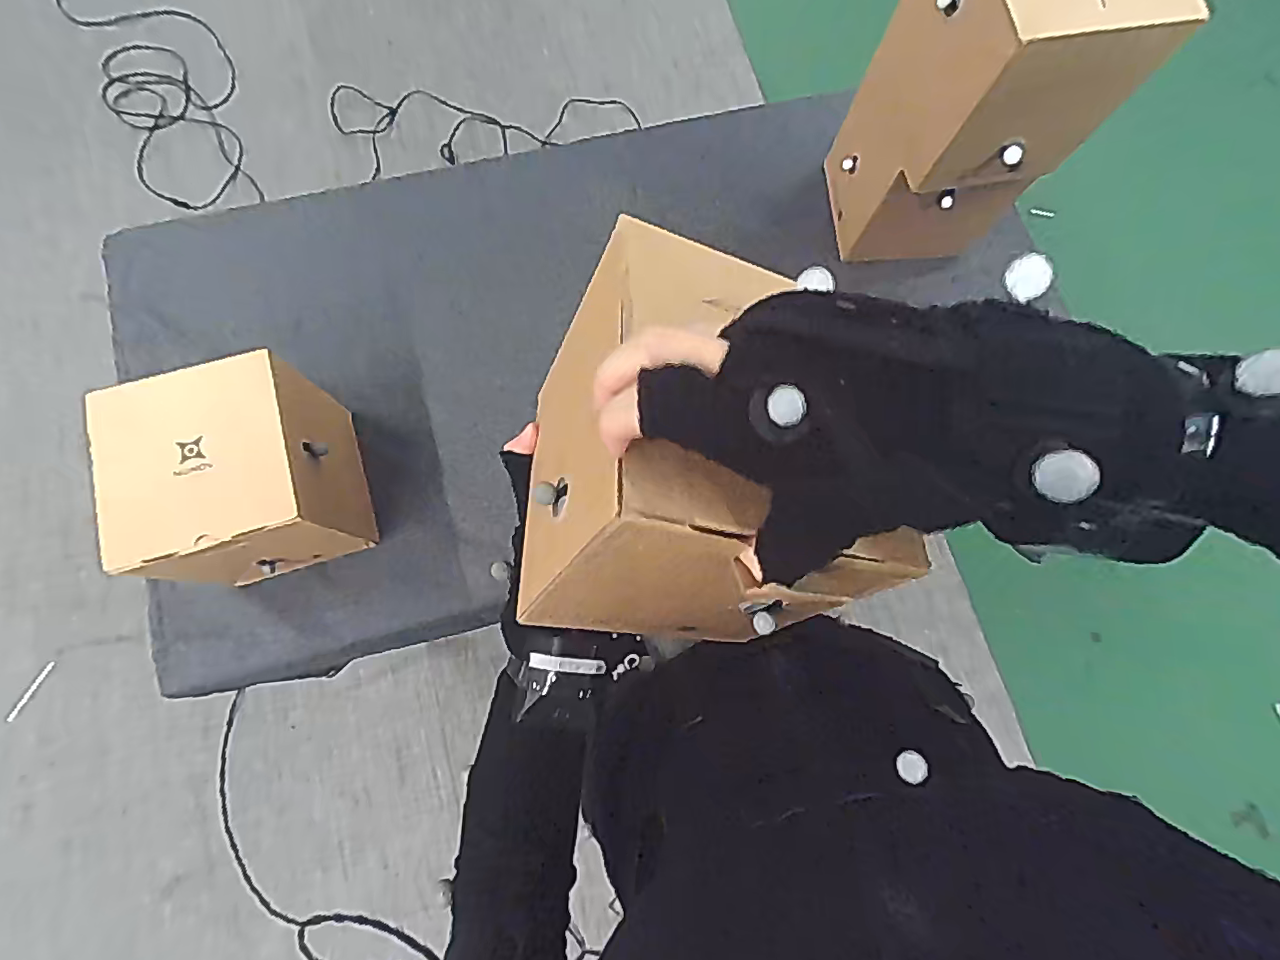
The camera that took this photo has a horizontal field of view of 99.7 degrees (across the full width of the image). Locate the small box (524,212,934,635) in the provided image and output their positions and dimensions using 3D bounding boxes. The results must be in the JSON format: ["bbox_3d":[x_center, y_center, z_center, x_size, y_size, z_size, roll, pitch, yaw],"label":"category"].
[{"bbox_3d":[0.032,-0.013,0.331,0.168,0.176,0.179,13,58,-21],"label":"small box"}]

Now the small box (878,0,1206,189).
[{"bbox_3d":[0.360,-0.423,0.526,0.168,0.176,0.179,-9,78,-4],"label":"small box"}]

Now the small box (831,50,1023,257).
[{"bbox_3d":[0.359,-0.405,0.690,0.179,0.176,0.168,-3,78,-3],"label":"small box"}]

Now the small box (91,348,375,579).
[{"bbox_3d":[-0.406,-0.006,0.566,0.168,0.176,0.179,-17,78,-7],"label":"small box"}]
